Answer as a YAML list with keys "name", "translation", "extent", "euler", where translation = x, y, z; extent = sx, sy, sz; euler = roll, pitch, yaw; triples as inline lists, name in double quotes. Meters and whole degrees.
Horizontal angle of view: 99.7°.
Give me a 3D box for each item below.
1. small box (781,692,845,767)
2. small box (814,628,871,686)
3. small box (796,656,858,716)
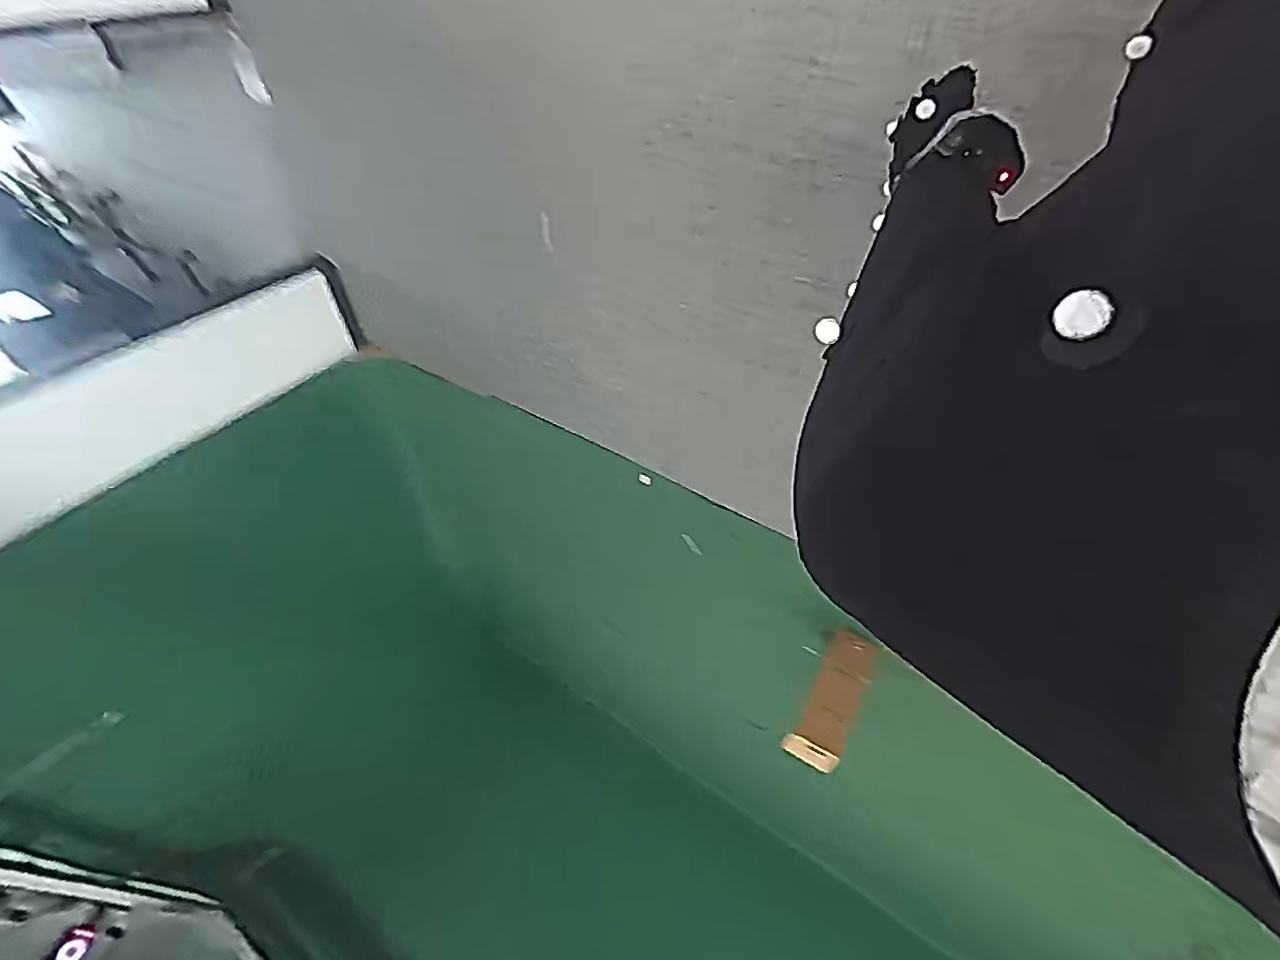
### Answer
- name: "small box"
  translation: [0.649, 0.927, 2.021]
  extent: [0.168, 0.176, 0.179]
  euler: [25, 142, 21]
- name: "small box"
  translation: [0.817, 0.737, 2.199]
  extent: [0.168, 0.176, 0.179]
  euler: [25, 141, 18]
- name: "small box"
  translation: [0.737, 0.826, 2.116]
  extent: [0.168, 0.176, 0.179]
  euler: [25, 142, 19]
